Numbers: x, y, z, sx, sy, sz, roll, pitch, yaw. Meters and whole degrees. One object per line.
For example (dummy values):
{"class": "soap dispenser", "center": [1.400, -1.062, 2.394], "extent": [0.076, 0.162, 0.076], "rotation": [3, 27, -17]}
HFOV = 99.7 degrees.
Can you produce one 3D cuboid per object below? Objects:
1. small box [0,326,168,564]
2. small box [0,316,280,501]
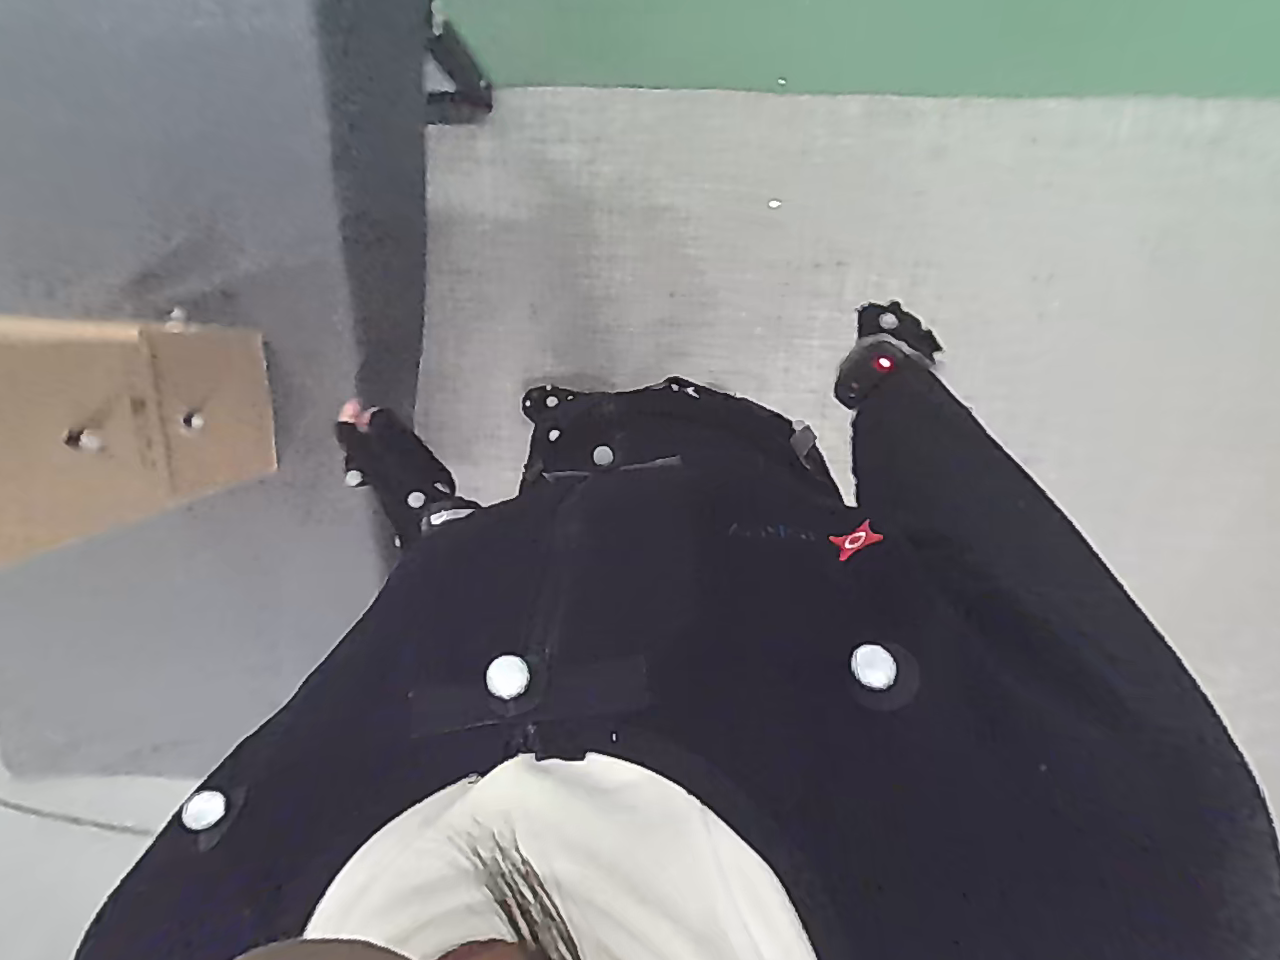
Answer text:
{"class": "small box", "center": [-0.541, -0.041, 0.447], "extent": [0.179, 0.176, 0.168], "rotation": [3, 104, 0]}
{"class": "small box", "center": [-0.539, -0.085, 0.605], "extent": [0.168, 0.176, 0.179], "rotation": [2, 103, 0]}
